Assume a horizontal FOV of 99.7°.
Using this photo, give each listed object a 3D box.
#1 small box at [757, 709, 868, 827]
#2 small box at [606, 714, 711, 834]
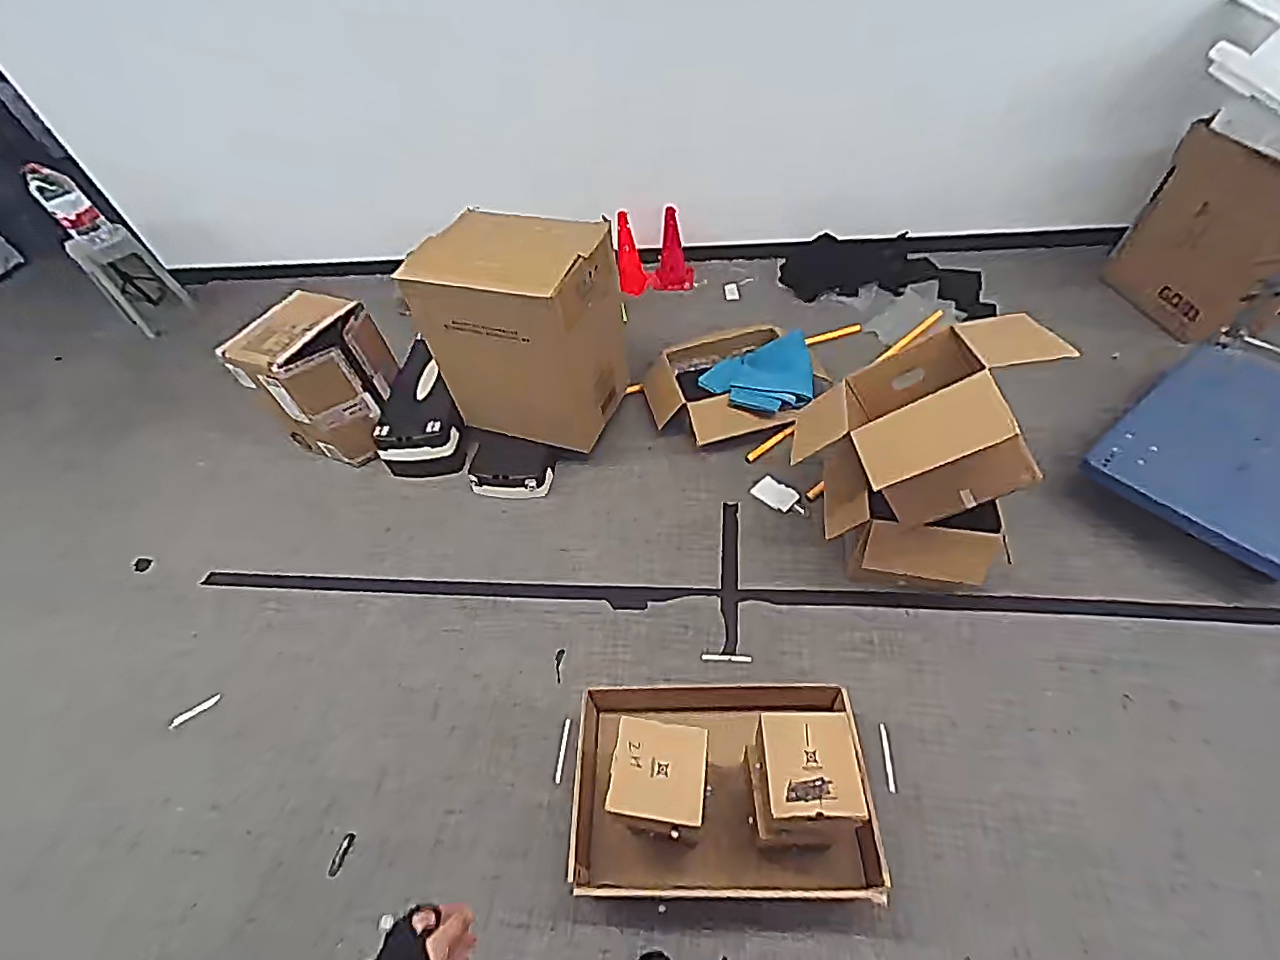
[{"bbox_3d":[0.321,0.558,1.042,0.168,0.176,0.179,-3,49,5],"label":"small box"},{"bbox_3d":[0.043,0.580,1.061,0.179,0.176,0.168,4,51,9],"label":"small box"}]
